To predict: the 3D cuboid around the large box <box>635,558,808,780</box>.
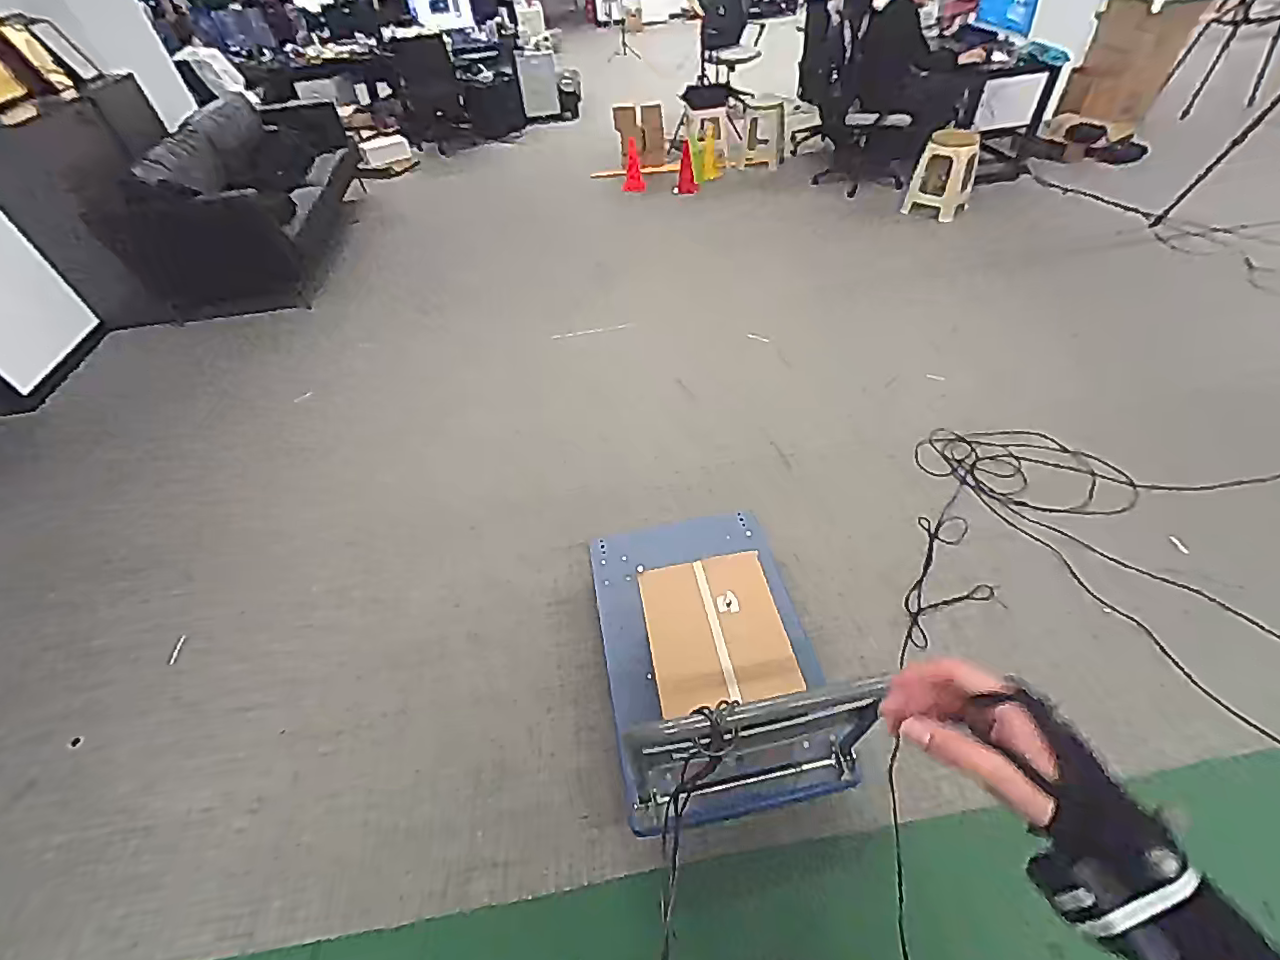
[{"bbox_3d":[0.184,0.471,1.362,0.320,0.320,0.408,-9,46,-4],"label":"large box"}]
